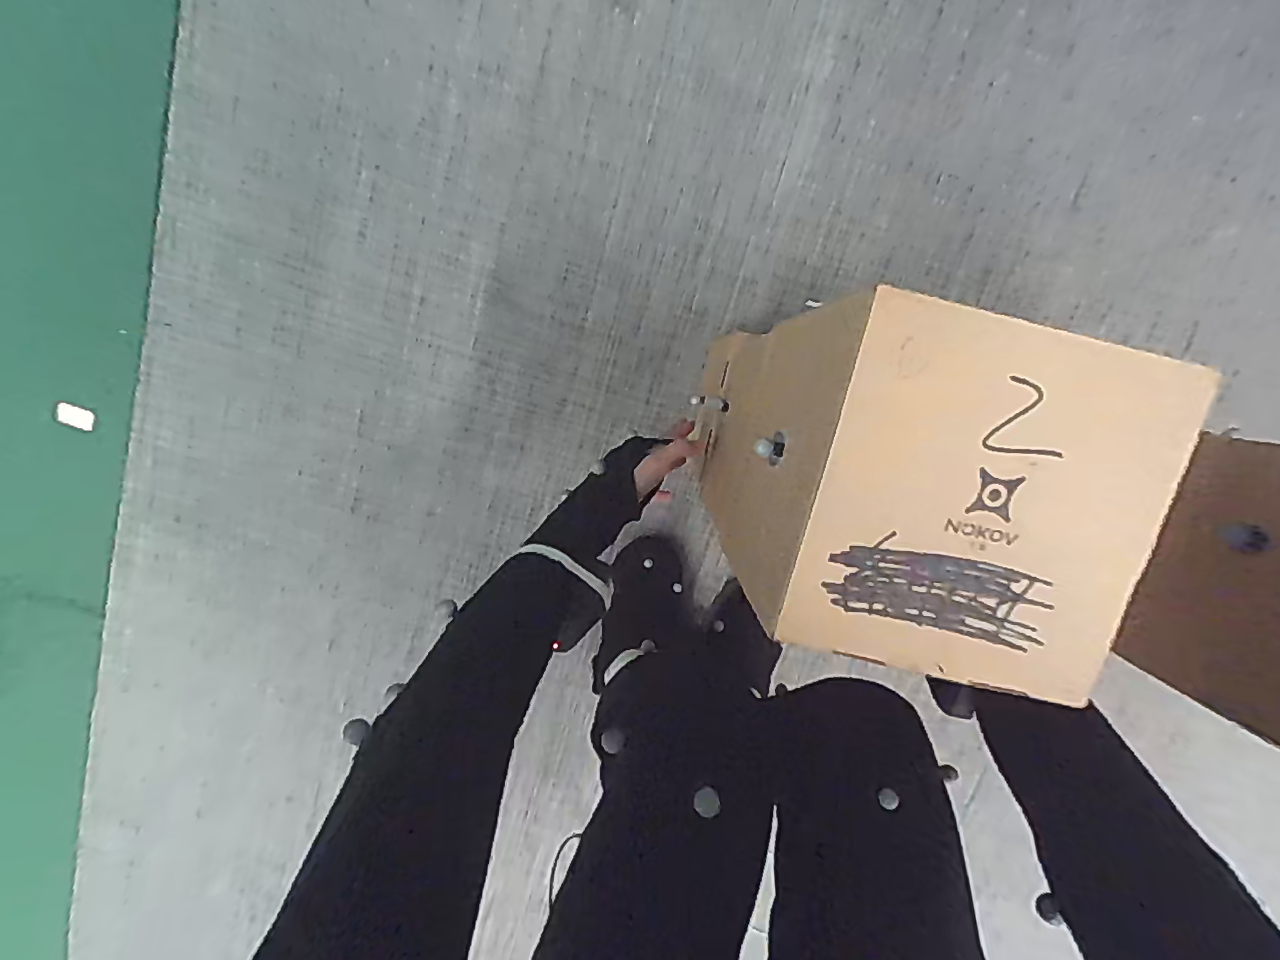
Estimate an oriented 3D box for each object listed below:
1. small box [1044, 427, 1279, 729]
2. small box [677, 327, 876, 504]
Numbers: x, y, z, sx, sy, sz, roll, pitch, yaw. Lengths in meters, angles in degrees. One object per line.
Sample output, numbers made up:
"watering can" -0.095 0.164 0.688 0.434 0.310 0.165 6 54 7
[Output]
"small box" 0.436 0.065 0.370 0.179 0.176 0.168 15 100 -5
"small box" 0.152 -0.084 0.670 0.179 0.176 0.168 12 101 -3
